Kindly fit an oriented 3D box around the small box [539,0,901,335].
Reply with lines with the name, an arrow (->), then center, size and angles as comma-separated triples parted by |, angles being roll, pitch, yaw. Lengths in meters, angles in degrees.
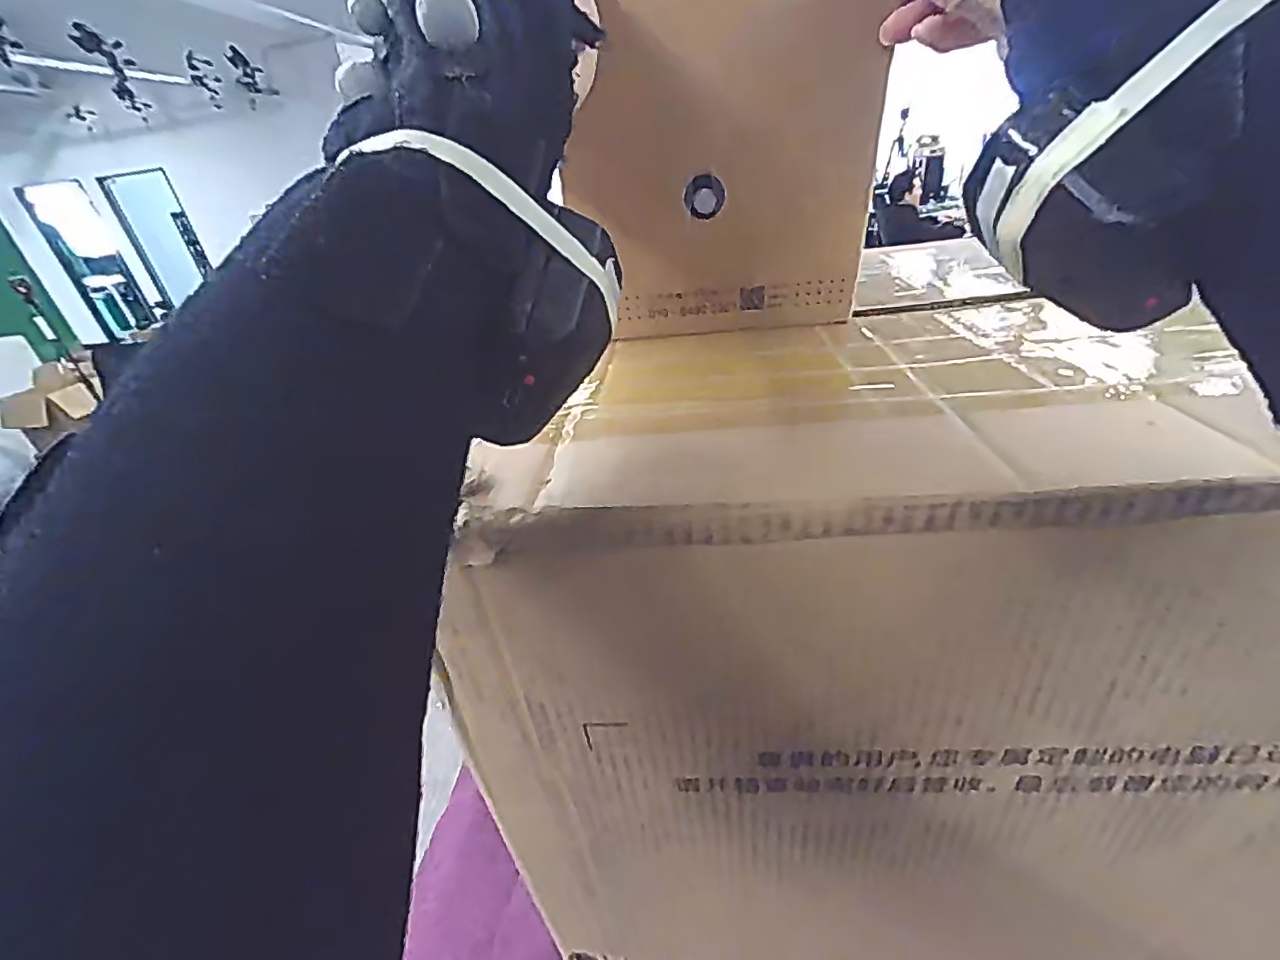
small box -> 0.047, -0.204, 0.350 | 0.168, 0.176, 0.179 | -2, 41, 5
